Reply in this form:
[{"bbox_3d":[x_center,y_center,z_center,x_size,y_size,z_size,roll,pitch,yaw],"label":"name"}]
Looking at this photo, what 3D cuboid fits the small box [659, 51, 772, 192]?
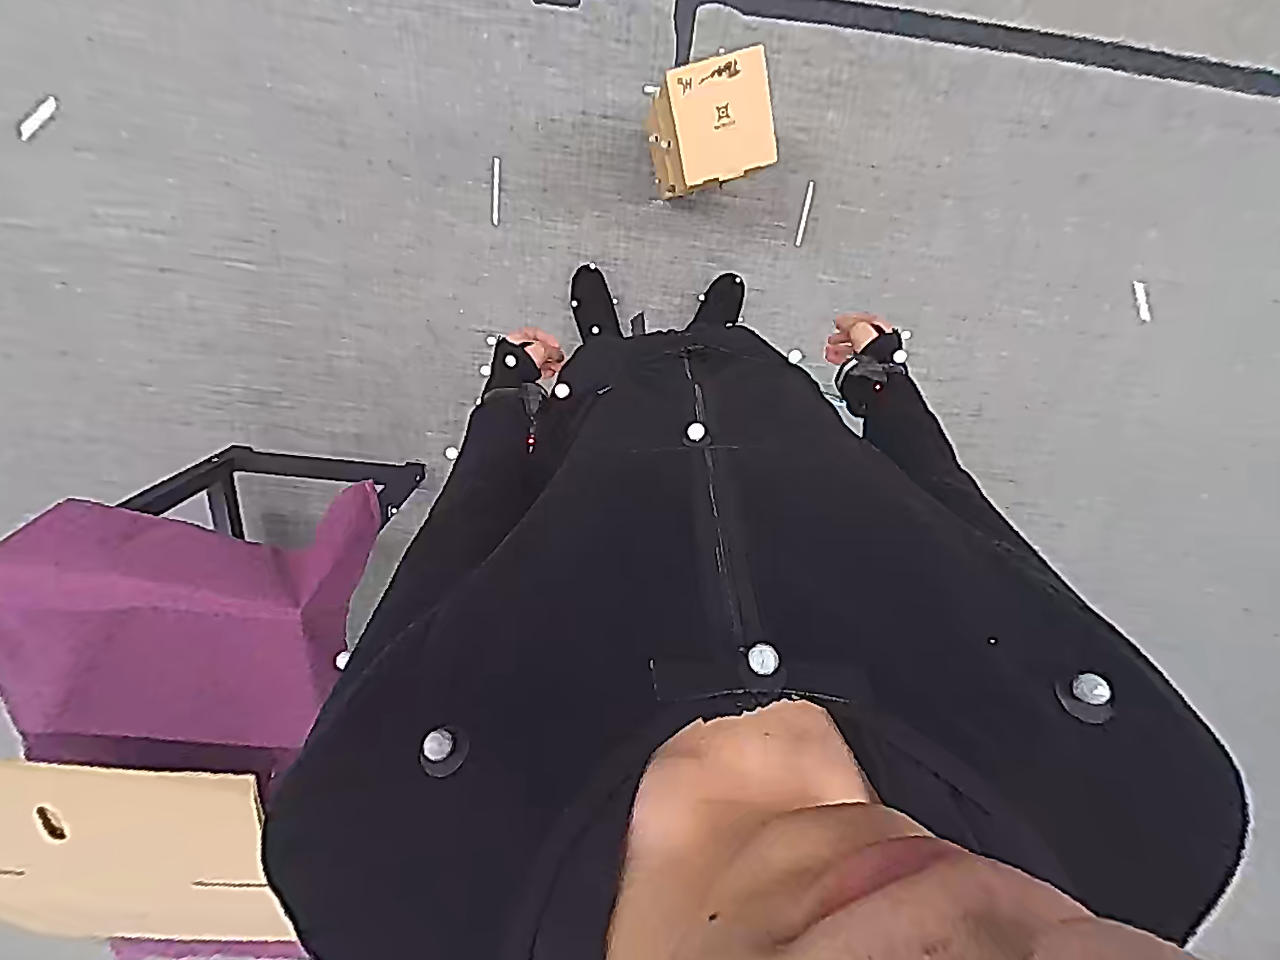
[{"bbox_3d":[0.134,-0.641,0.992,0.168,0.176,0.179,-13,114,3],"label":"small box"}]
